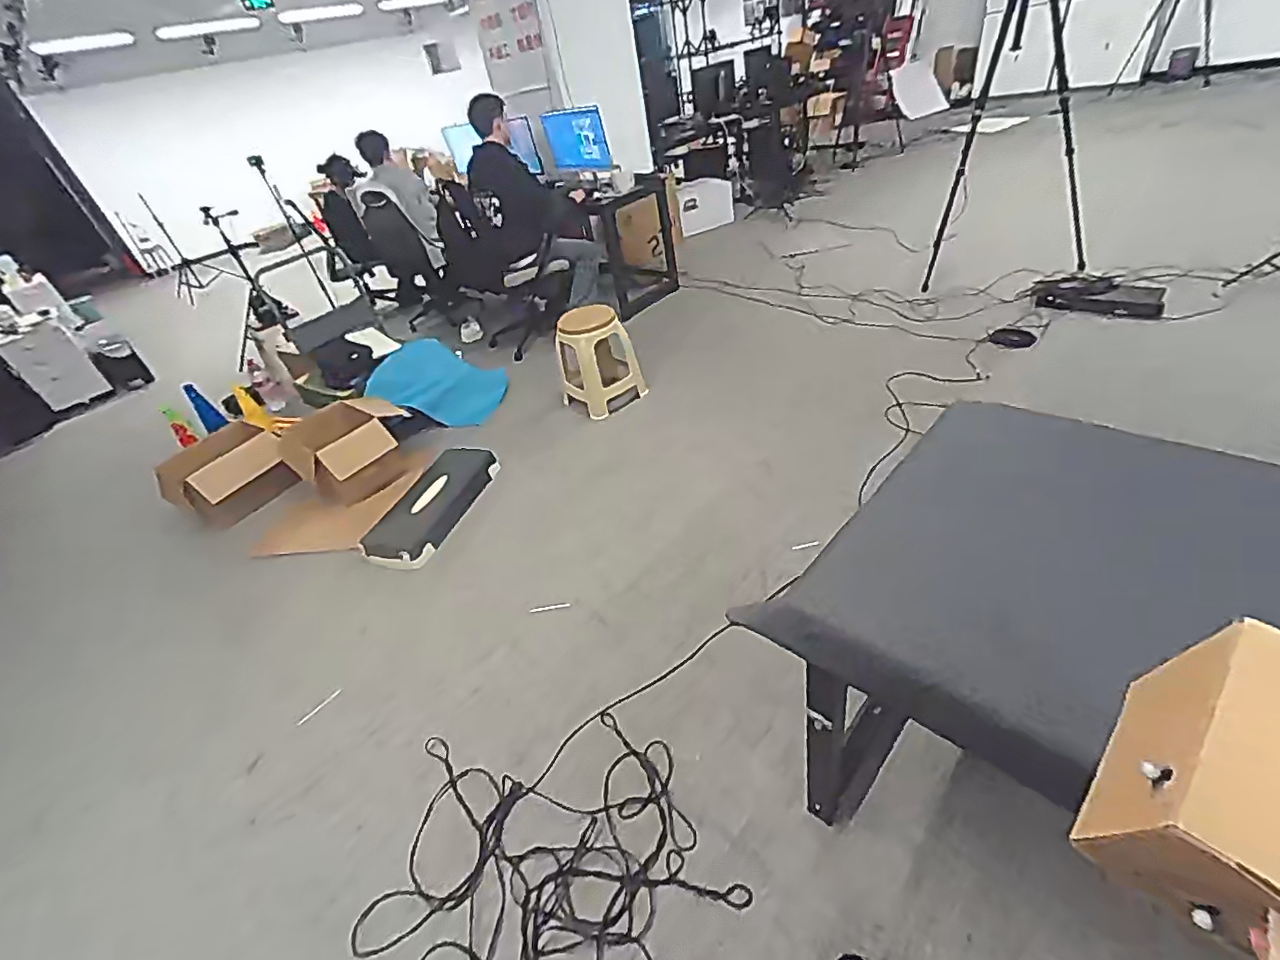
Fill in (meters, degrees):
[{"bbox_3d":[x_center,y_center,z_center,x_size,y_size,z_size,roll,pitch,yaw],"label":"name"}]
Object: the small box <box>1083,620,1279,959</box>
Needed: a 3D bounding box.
[{"bbox_3d":[0.472,0.242,0.395,0.168,0.176,0.179,29,67,32],"label":"small box"}]
